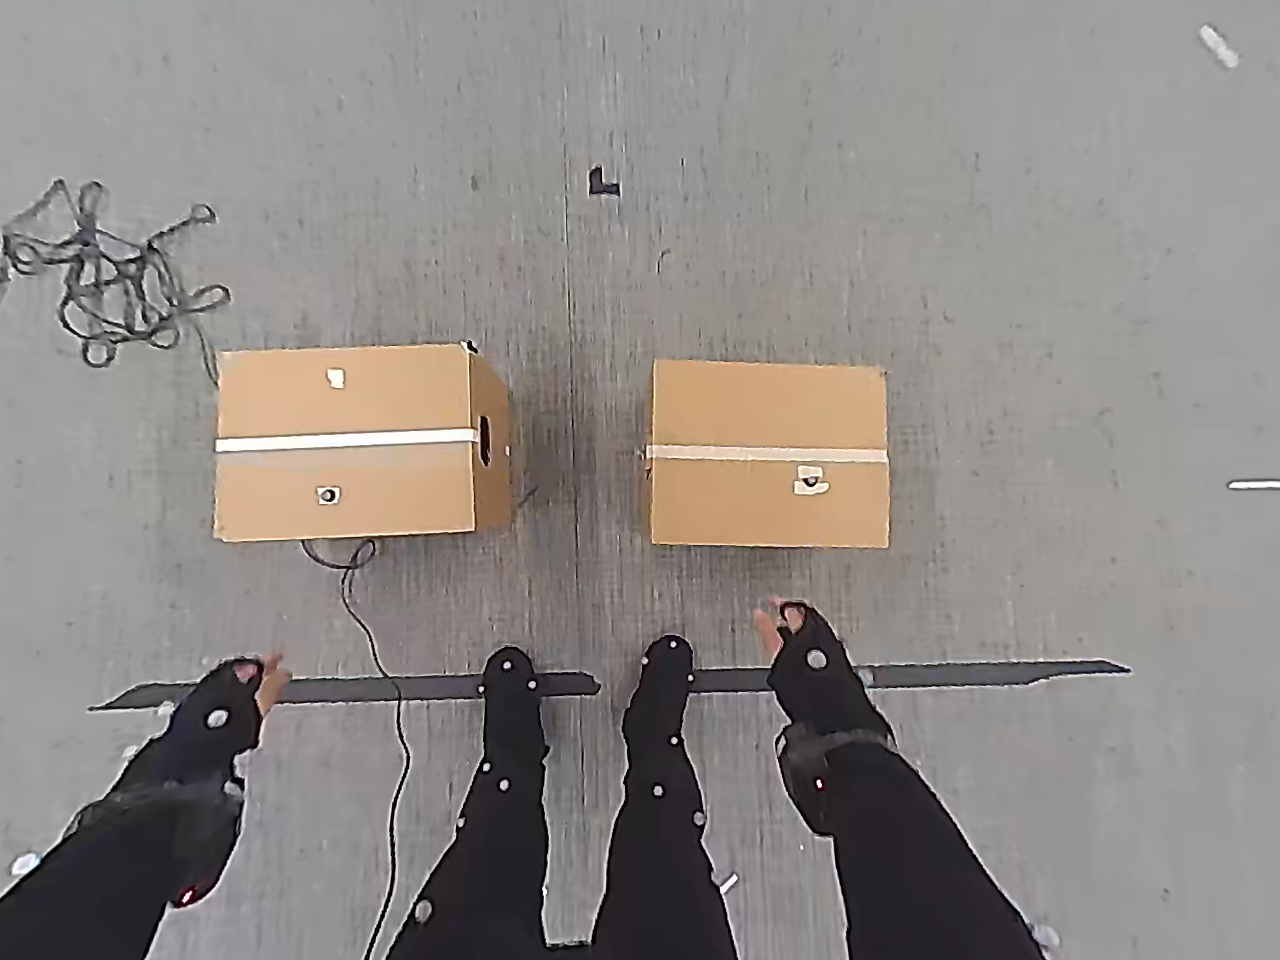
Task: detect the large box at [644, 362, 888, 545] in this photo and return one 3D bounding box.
[{"bbox_3d":[0.217,-0.034,1.070,0.408,0.320,0.320,1,86,-3],"label":"large box"}]
